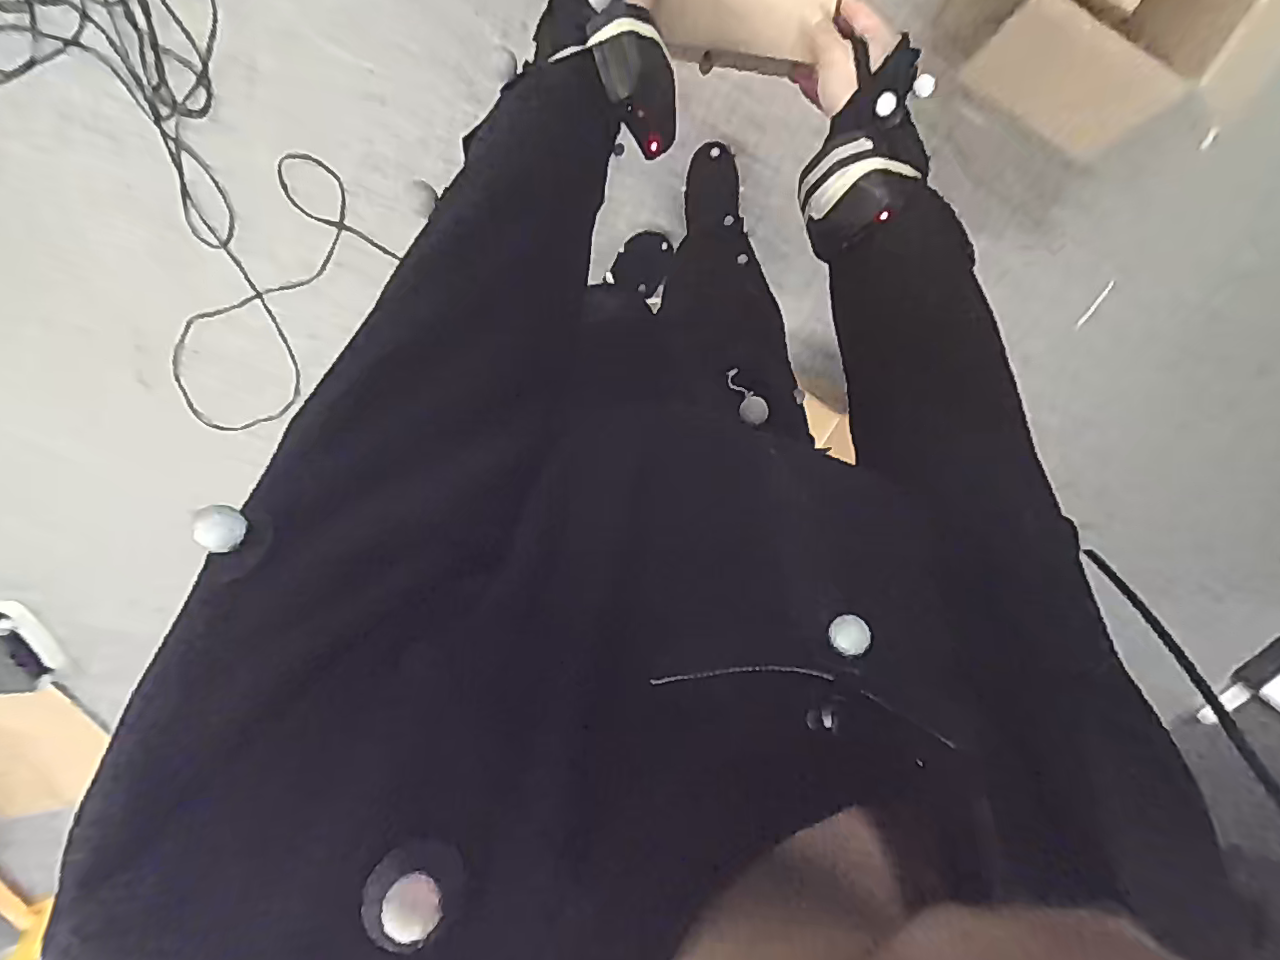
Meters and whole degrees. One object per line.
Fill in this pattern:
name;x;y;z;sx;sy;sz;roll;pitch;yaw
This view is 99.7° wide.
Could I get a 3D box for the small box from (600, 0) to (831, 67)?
small box;0.074;-0.453;0.442;0.179;0.176;0.168;10;125;3
